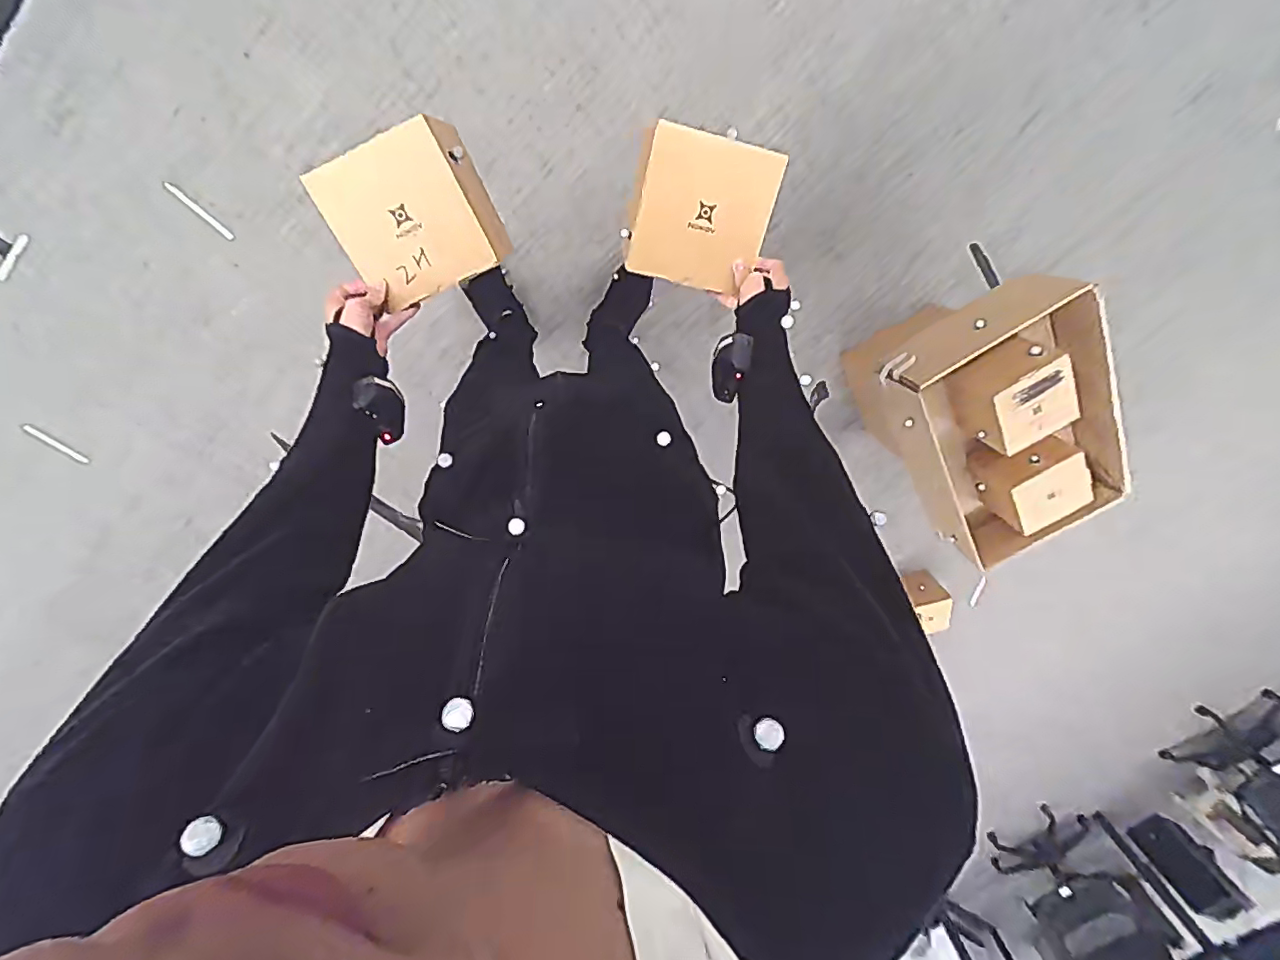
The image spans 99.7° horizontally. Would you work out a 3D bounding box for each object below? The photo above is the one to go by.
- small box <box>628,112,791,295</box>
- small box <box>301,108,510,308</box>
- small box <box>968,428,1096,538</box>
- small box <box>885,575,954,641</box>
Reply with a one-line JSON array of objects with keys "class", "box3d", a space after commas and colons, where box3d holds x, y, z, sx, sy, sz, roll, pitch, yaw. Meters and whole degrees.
[{"class": "small box", "box3d": [0.079, -0.378, 0.743, 0.168, 0.176, 0.179, 10, 121, -9]}, {"class": "small box", "box3d": [-0.291, -0.356, 0.719, 0.168, 0.176, 0.179, -21, 119, 7]}, {"class": "small box", "box3d": [0.952, 0.000, 1.320, 0.179, 0.176, 0.168, -33, 117, 7]}, {"class": "small box", "box3d": [1.078, 0.494, 2.101, 0.179, 0.176, 0.168, -13, 120, -2]}]
